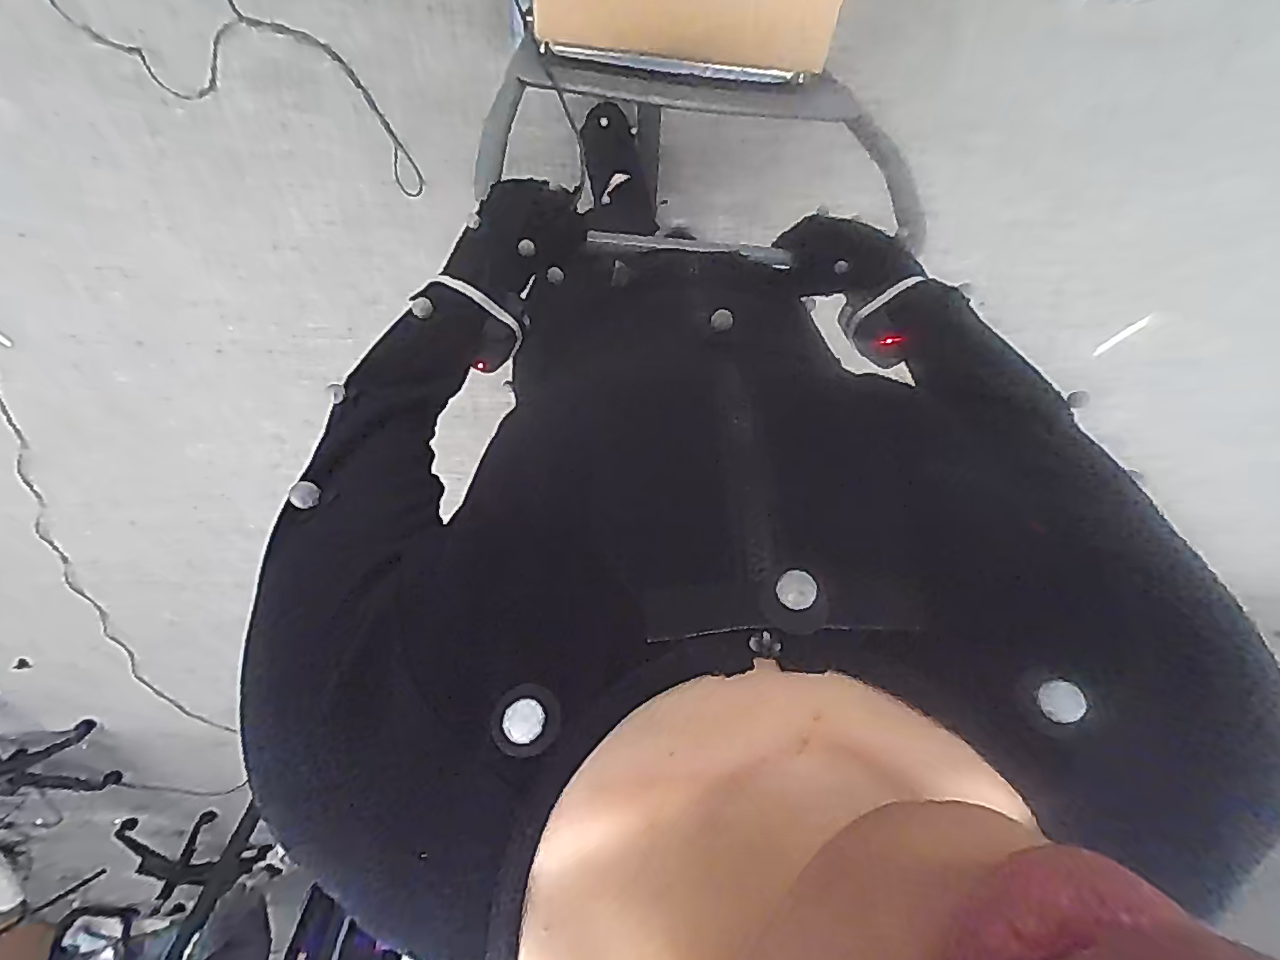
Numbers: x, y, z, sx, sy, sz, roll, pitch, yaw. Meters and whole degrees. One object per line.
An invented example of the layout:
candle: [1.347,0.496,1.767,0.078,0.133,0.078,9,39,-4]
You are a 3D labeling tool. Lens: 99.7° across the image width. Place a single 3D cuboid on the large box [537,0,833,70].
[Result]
large box: [0.061,-0.810,0.756,0.408,0.320,0.320,2,138,-6]
